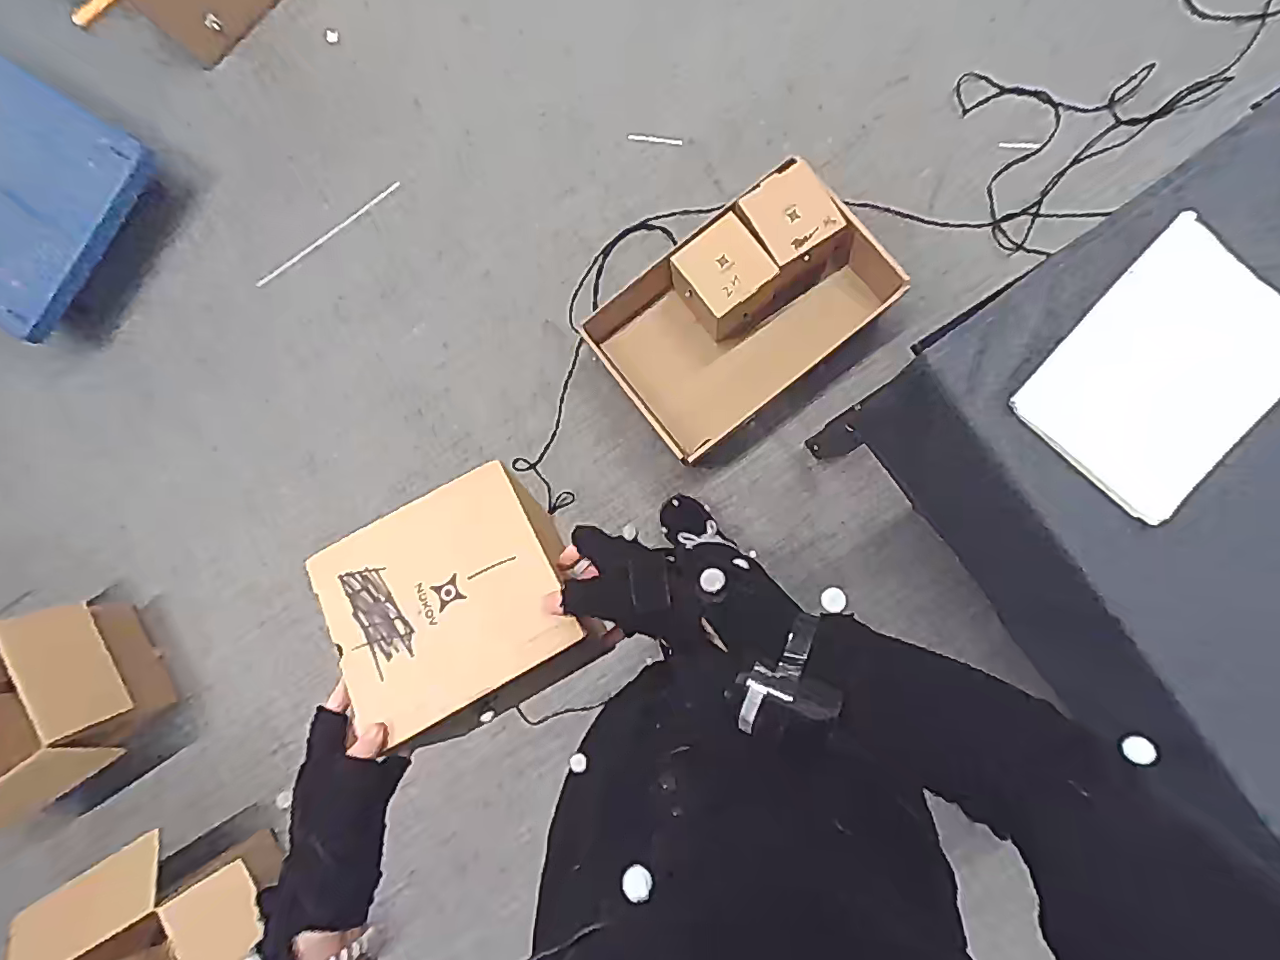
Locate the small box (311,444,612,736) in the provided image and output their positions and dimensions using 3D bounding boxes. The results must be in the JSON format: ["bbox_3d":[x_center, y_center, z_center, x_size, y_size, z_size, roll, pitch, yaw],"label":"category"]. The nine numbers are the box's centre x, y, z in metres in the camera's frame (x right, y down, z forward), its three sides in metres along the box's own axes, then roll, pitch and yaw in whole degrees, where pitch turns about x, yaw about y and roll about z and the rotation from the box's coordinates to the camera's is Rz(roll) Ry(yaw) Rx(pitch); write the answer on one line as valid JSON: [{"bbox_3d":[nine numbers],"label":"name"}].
[{"bbox_3d":[-0.142,0.103,0.482,0.179,0.176,0.168,-28,70,-6],"label":"small box"}]

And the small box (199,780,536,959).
[{"bbox_3d":[-0.189,0.340,0.357,0.168,0.179,0.176,36,115,-29],"label":"small box"}]
